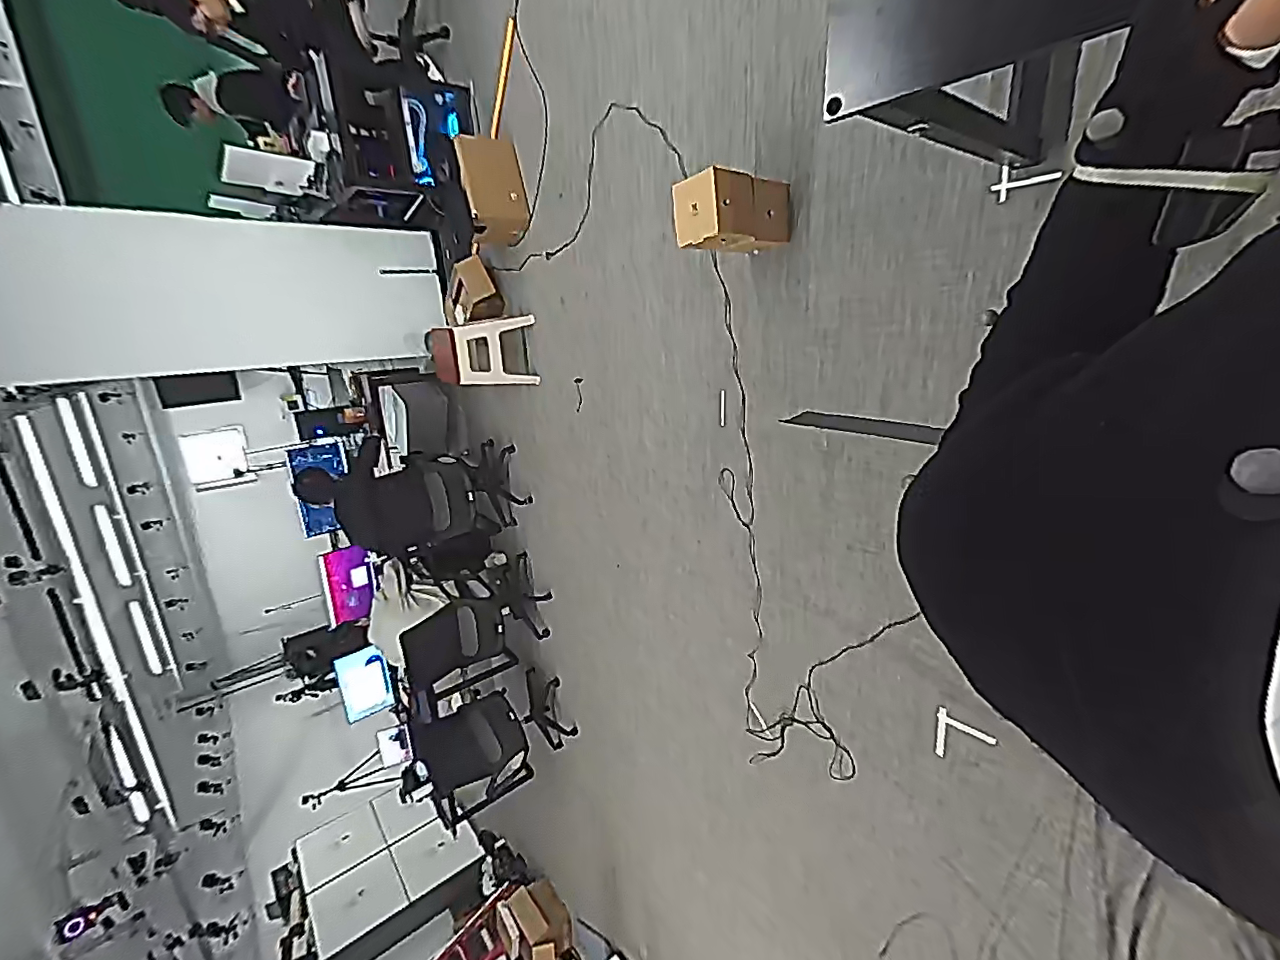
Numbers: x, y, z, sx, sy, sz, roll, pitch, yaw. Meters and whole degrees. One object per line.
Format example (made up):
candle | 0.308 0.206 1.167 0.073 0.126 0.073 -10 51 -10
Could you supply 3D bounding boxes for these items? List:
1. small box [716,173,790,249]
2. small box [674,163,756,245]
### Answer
small box | 0.350 -0.826 1.679 0.168 0.176 0.179 12 112 50
small box | 0.223 -0.797 1.581 0.168 0.176 0.179 8 108 50
